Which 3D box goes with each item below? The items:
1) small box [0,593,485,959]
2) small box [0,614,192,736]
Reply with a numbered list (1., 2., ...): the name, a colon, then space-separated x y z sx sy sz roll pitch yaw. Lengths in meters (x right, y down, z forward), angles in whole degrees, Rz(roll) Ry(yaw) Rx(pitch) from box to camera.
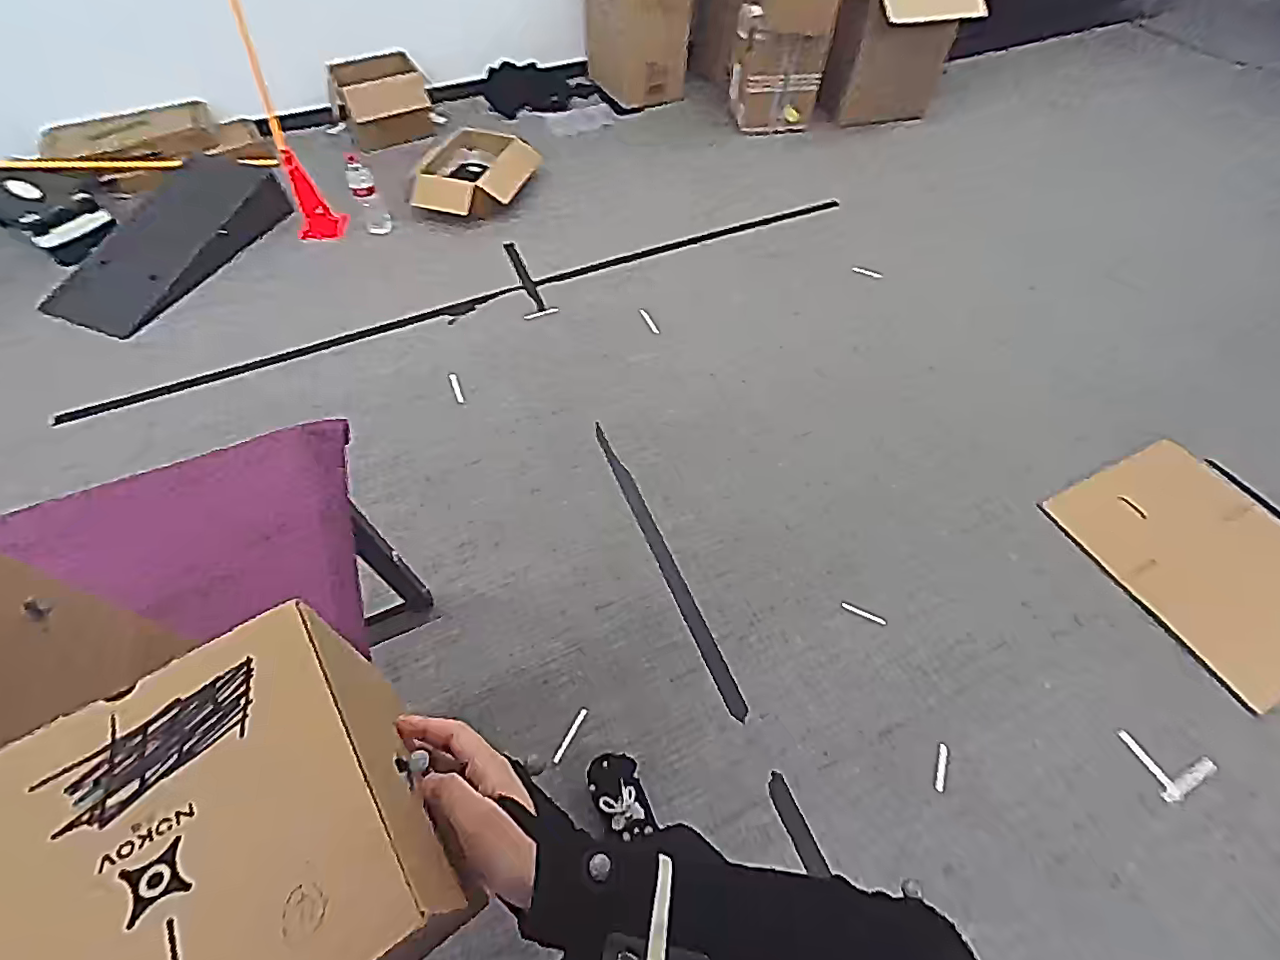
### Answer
1. small box: -0.205 0.201 0.296 0.168 0.176 0.179 -28 62 -22
2. small box: -0.609 0.283 0.610 0.168 0.176 0.179 -19 57 -13
